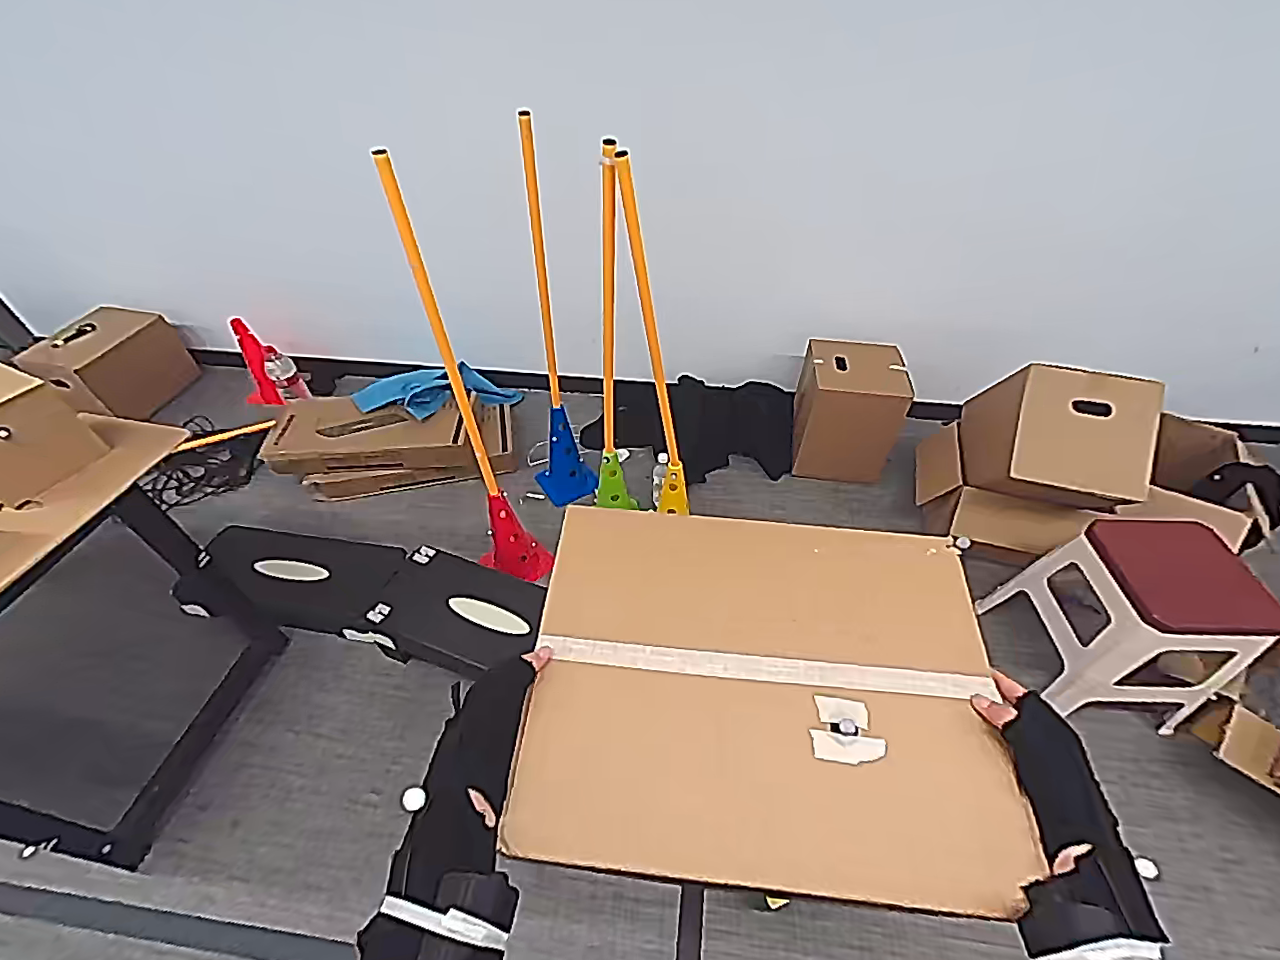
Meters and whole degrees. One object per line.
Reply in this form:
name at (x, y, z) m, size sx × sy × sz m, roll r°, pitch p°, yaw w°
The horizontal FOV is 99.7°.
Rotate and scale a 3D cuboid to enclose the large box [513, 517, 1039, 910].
large box at (0.109, 0.265, 0.612) m, size 0.408 × 0.320 × 0.320 m, roll 5°, pitch 54°, yaw 4°
